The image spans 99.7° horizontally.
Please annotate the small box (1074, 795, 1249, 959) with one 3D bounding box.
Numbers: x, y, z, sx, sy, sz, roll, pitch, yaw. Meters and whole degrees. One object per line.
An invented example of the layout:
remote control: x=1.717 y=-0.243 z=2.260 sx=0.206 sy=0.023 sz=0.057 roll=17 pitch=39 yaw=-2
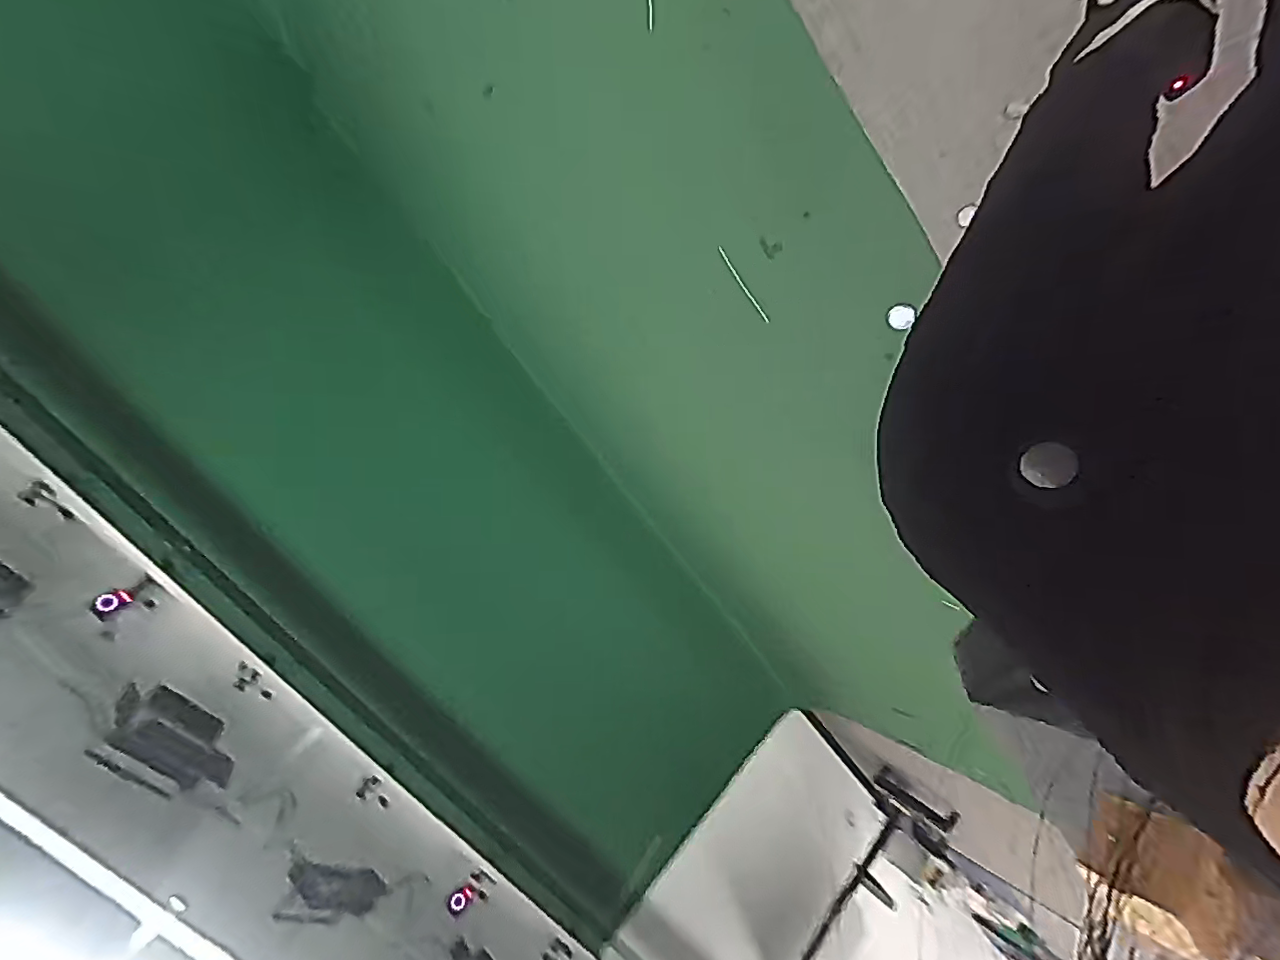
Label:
small box: x=0.975 y=0.740 z=1.013 sx=0.179 sy=0.176 sz=0.168 roll=50 pitch=162 yaw=-12
